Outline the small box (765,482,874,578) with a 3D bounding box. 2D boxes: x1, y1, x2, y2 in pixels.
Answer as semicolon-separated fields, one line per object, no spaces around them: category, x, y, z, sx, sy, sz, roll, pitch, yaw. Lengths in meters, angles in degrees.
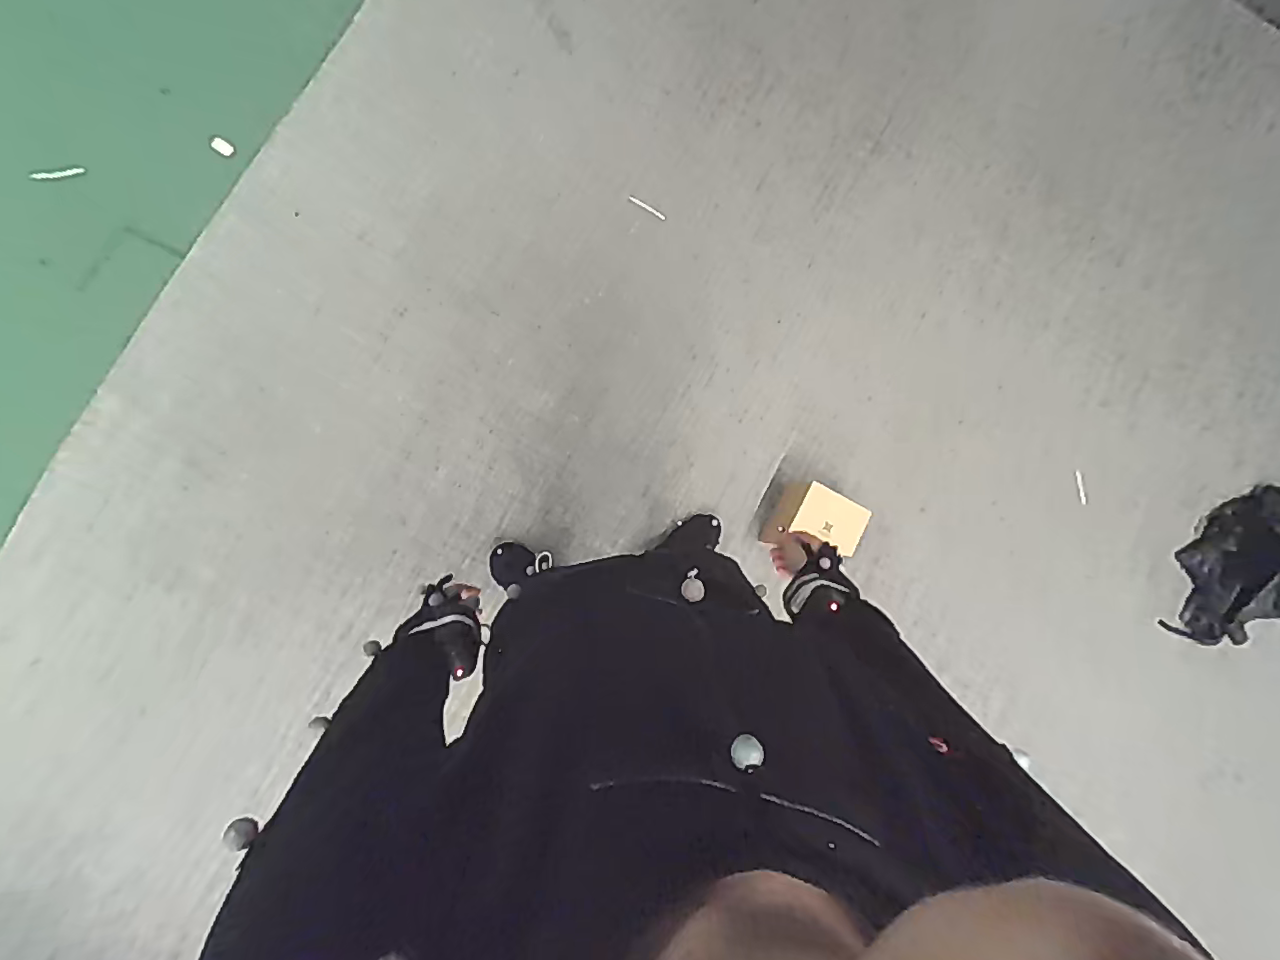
small box;0.433;0.119;1.336;0.168;0.176;0.179;27;86;-4
